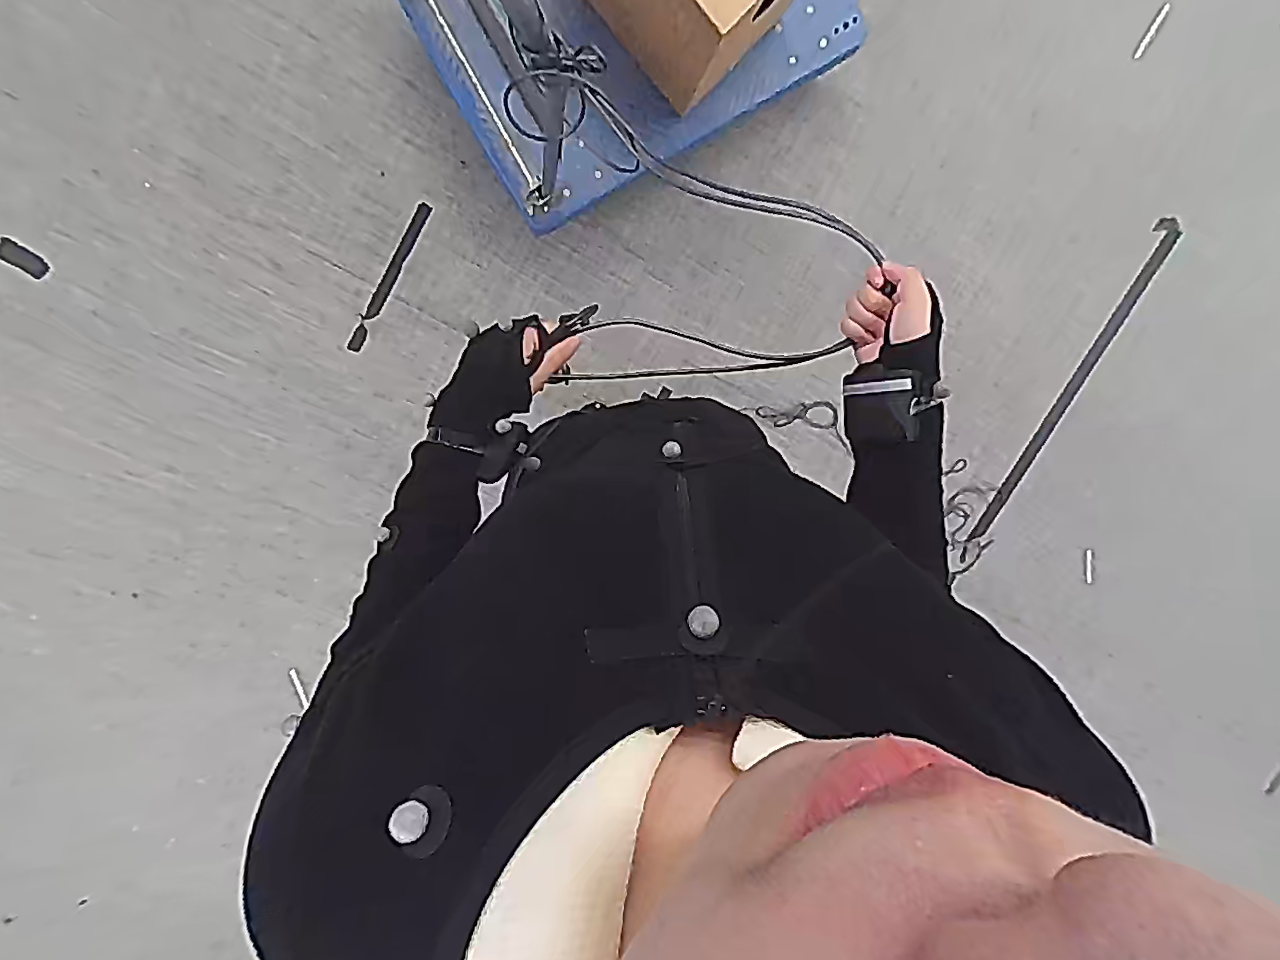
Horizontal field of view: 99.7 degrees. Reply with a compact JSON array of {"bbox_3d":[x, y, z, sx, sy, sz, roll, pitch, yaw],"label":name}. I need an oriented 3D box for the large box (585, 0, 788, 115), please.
[{"bbox_3d":[0.080,-0.996,0.979,0.320,0.320,0.408,-45,105,3],"label":"large box"}]
